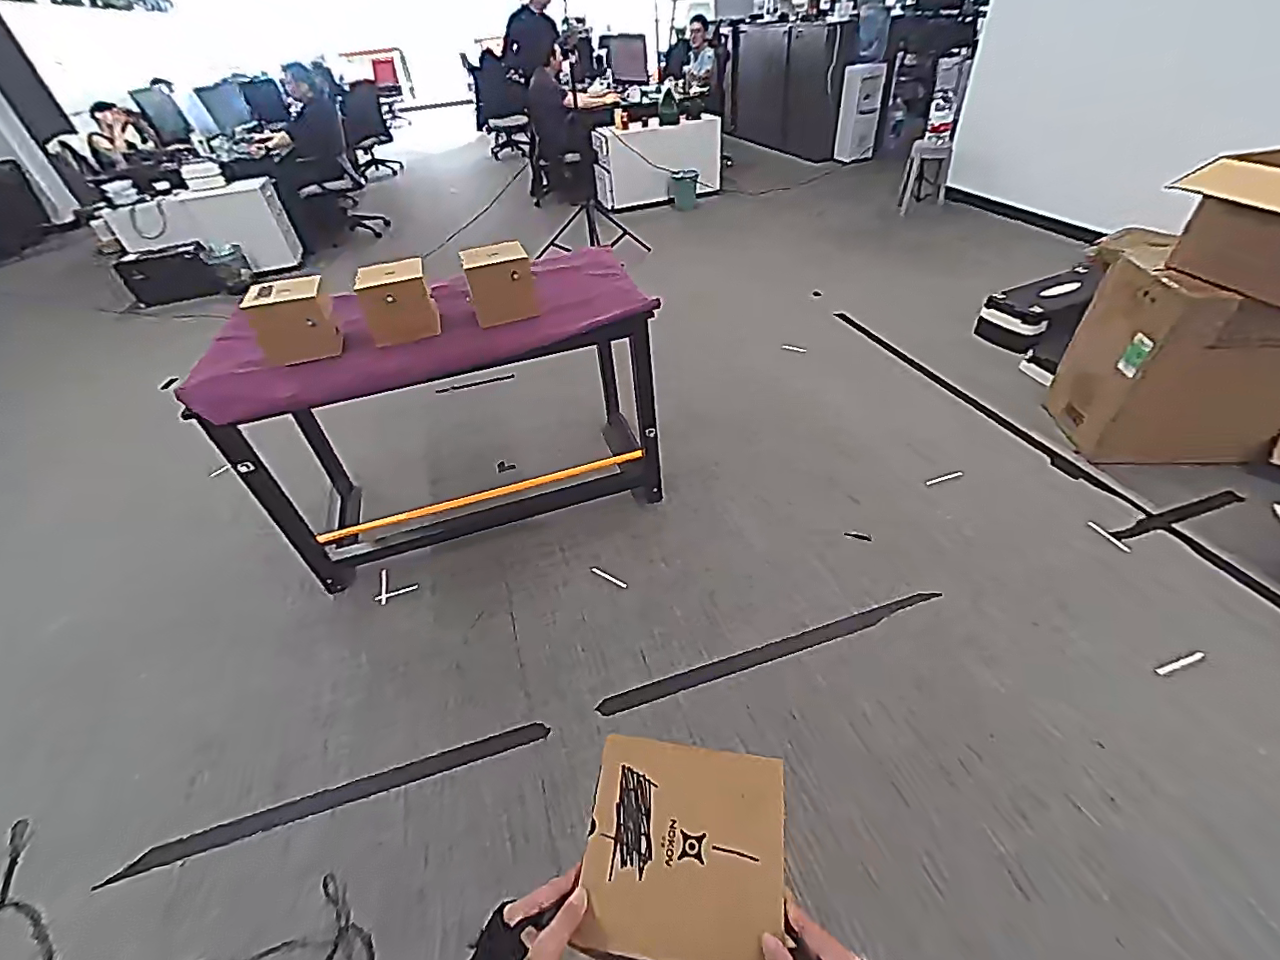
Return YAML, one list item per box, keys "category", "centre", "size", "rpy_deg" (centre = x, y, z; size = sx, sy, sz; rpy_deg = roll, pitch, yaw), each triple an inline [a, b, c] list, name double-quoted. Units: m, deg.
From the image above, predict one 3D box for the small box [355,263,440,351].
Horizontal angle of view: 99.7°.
- category: "small box"
  centre: [-0.671, -0.485, 1.516]
  size: [0.179, 0.176, 0.168]
  rpy_deg: [-16, 42, -10]

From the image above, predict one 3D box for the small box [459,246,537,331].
- category: "small box"
  centre: [-0.402, -0.549, 1.548]
  size: [0.179, 0.176, 0.168]
  rpy_deg: [-17, 40, -11]

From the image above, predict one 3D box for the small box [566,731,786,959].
- category: "small box"
  centre: [0.045, 0.370, 0.528]
  size: [0.179, 0.176, 0.168]
  rpy_deg: [3, 46, 10]
